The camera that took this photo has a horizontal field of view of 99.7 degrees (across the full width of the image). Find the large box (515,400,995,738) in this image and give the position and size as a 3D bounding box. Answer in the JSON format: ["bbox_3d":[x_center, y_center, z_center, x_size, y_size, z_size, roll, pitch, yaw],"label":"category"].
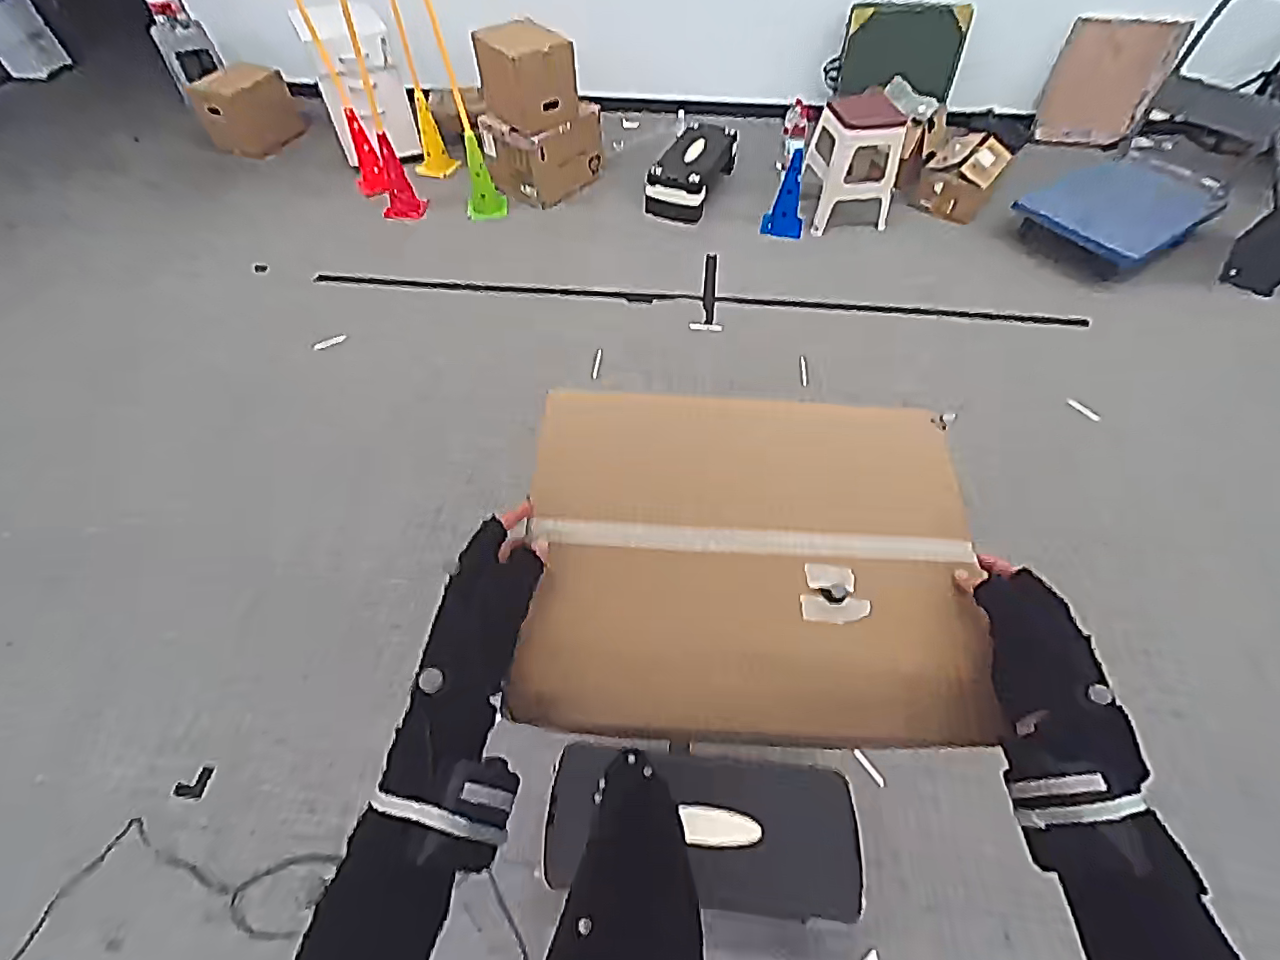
[{"bbox_3d":[0.091,0.126,0.636,0.408,0.320,0.320,3,64,-1],"label":"large box"}]
